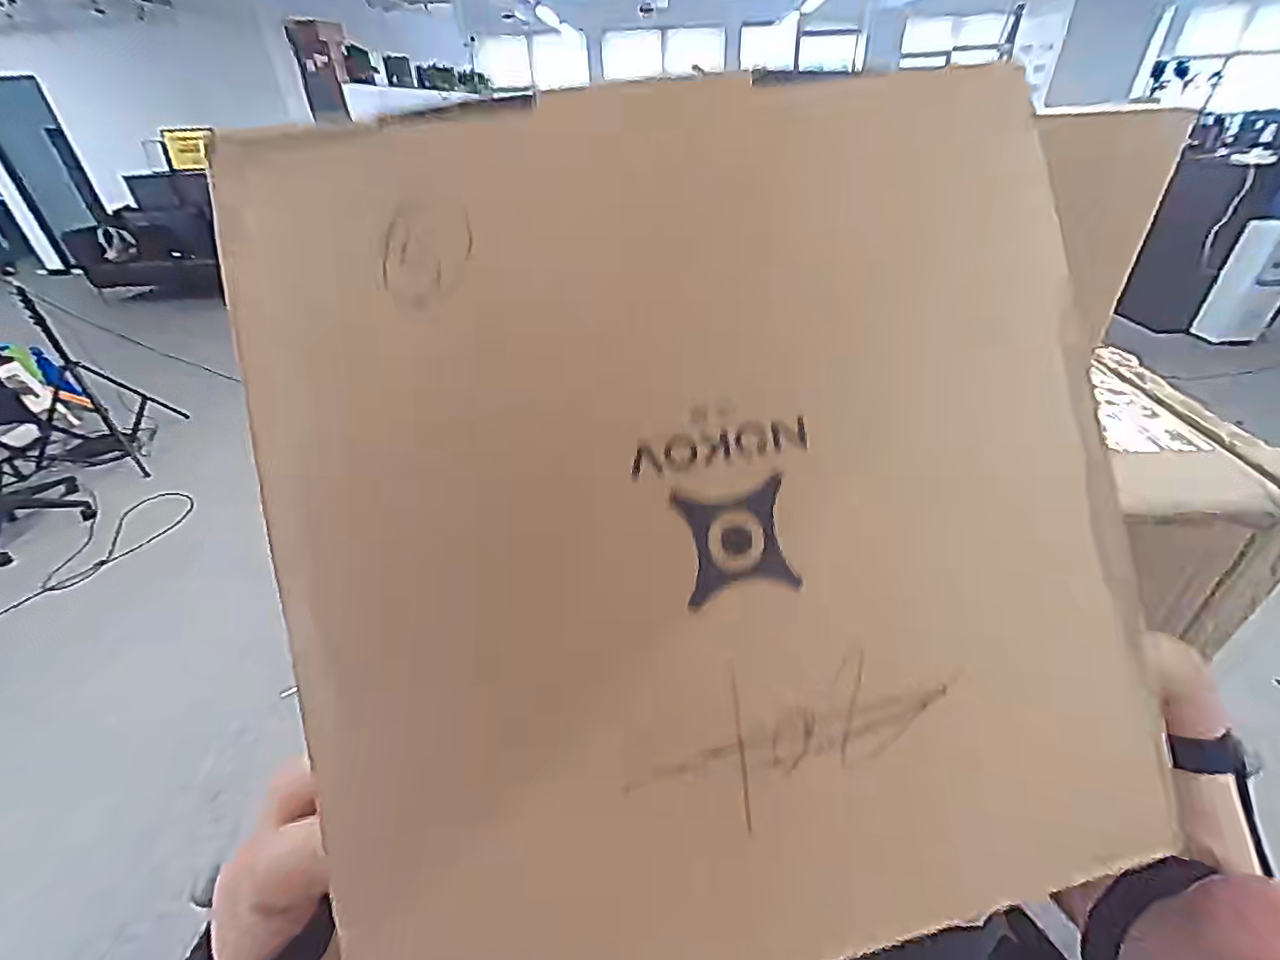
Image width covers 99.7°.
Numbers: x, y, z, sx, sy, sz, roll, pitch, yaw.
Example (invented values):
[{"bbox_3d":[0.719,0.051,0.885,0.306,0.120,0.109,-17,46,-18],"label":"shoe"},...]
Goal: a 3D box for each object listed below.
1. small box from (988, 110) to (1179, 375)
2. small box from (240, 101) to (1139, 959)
[{"bbox_3d":[0.248,-0.193,0.440,0.168,0.176,0.179,-2,33,2],"label":"small box"},{"bbox_3d":[0.008,0.015,0.193,0.168,0.179,0.176,-12,0,-7],"label":"small box"}]
